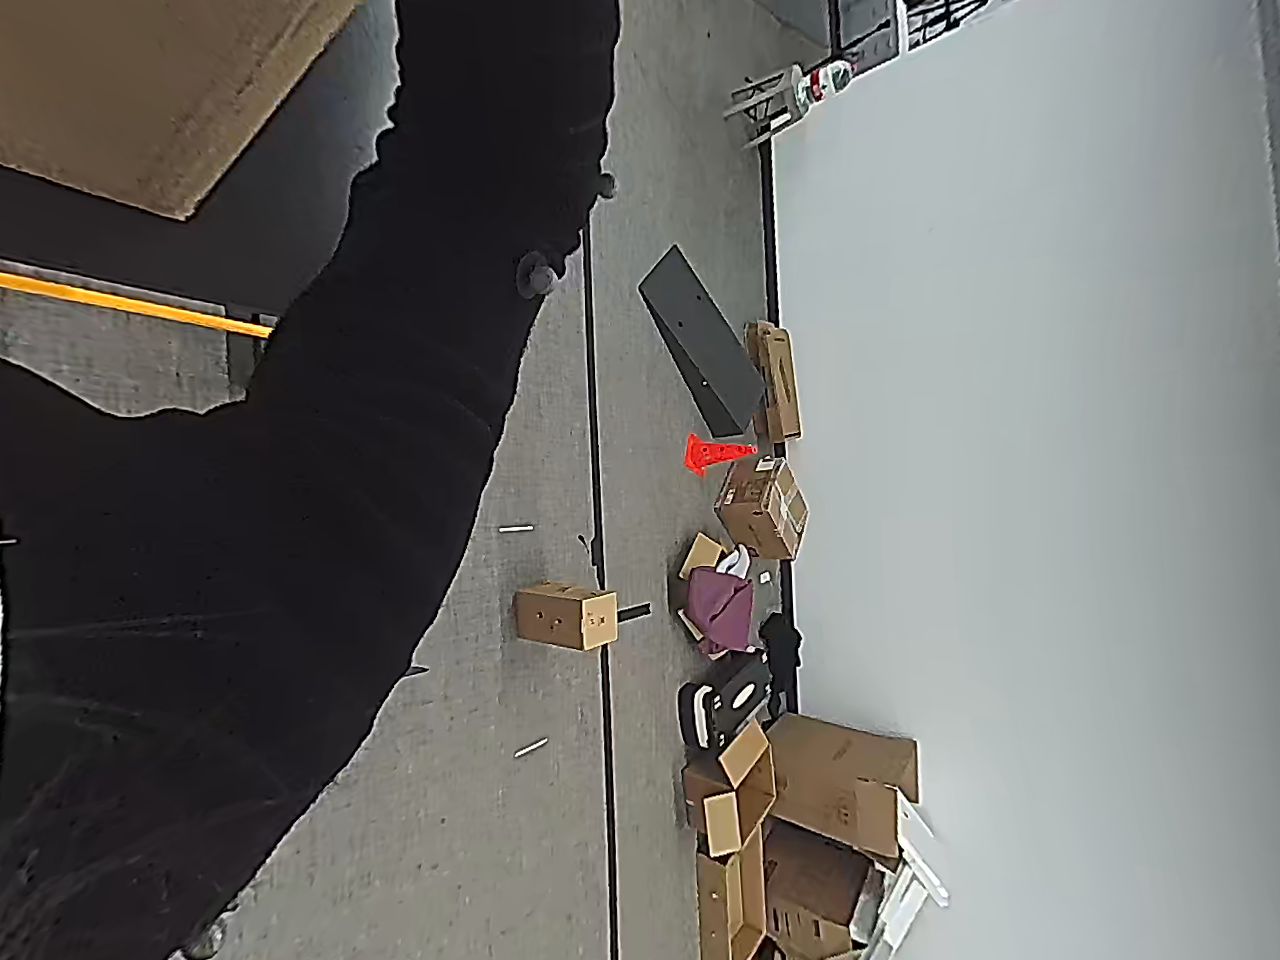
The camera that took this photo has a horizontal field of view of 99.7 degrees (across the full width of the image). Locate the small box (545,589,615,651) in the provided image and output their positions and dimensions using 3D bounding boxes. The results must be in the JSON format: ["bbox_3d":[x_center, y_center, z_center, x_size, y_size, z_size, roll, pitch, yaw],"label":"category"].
[{"bbox_3d":[-0.204,0.473,1.854,0.179,0.176,0.168,1,87,-53],"label":"small box"}]

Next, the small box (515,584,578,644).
[{"bbox_3d":[-0.337,0.476,1.953,0.168,0.176,0.179,-5,92,-53],"label":"small box"}]
